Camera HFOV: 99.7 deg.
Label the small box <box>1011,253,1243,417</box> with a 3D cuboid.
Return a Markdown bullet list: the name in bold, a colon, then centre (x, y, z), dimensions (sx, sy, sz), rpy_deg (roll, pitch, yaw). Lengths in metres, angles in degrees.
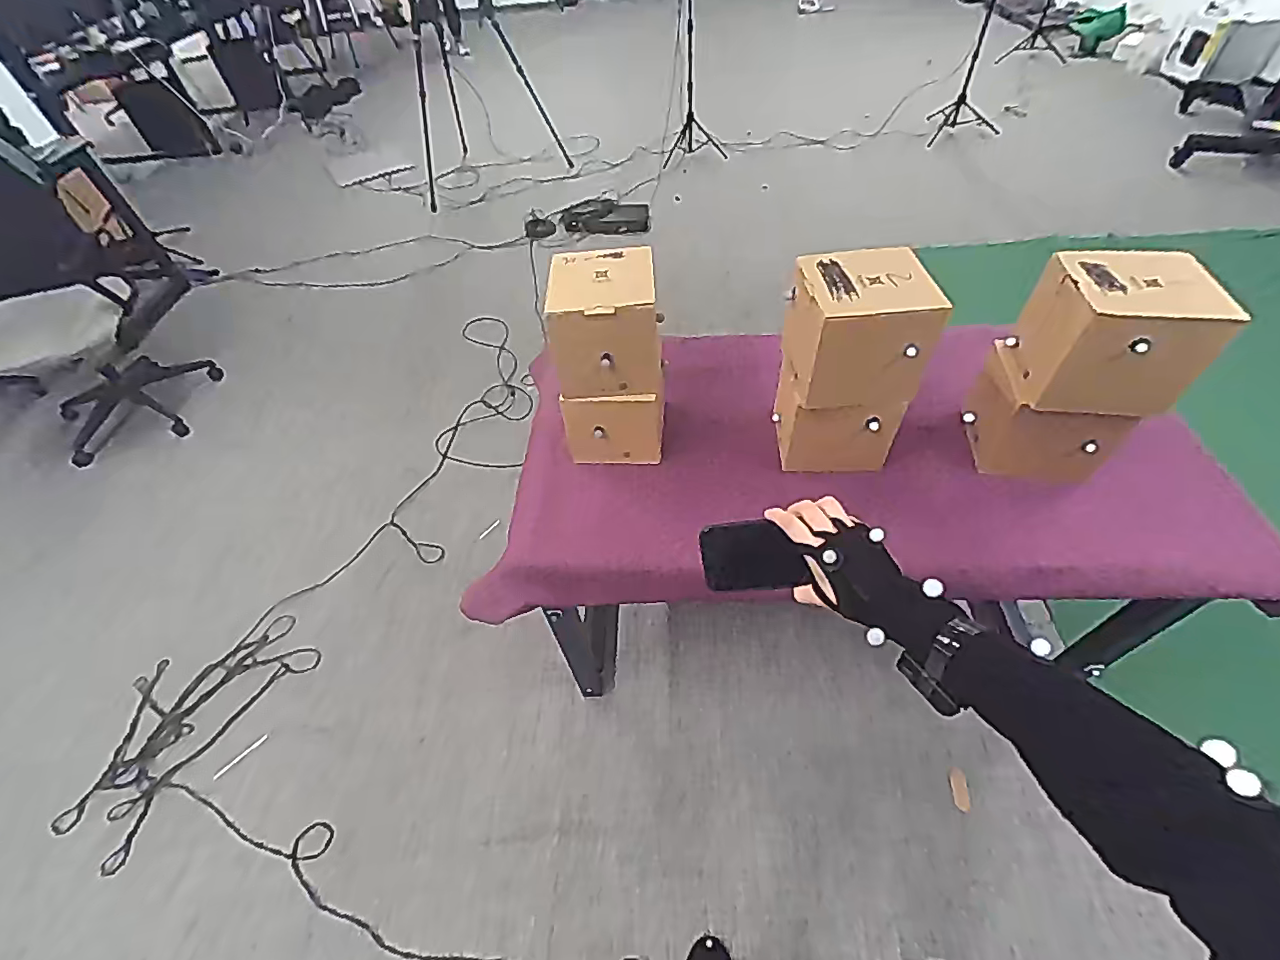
- **small box**: centre (0.675, -0.208, 0.785), dimensions (0.179, 0.176, 0.168), rpy_deg (6, 51, 9)

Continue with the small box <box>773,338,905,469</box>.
- **small box**: centre (0.342, -0.133, 0.964), dimensions (0.179, 0.176, 0.168), rpy_deg (1, 51, 6)

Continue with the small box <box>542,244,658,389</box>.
- **small box**: centre (-0.056, -0.263, 0.895), dimensions (0.168, 0.176, 0.179), rpy_deg (-2, 51, 2)

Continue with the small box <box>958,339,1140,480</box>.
- **small box**: centre (0.679, -0.117, 0.922), dimensions (0.179, 0.176, 0.168), rpy_deg (6, 51, 10)

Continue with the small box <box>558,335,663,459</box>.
- **small box**: centre (-0.045, -0.153, 1.017), dimensions (0.168, 0.176, 0.179), rpy_deg (1, 51, 6)
